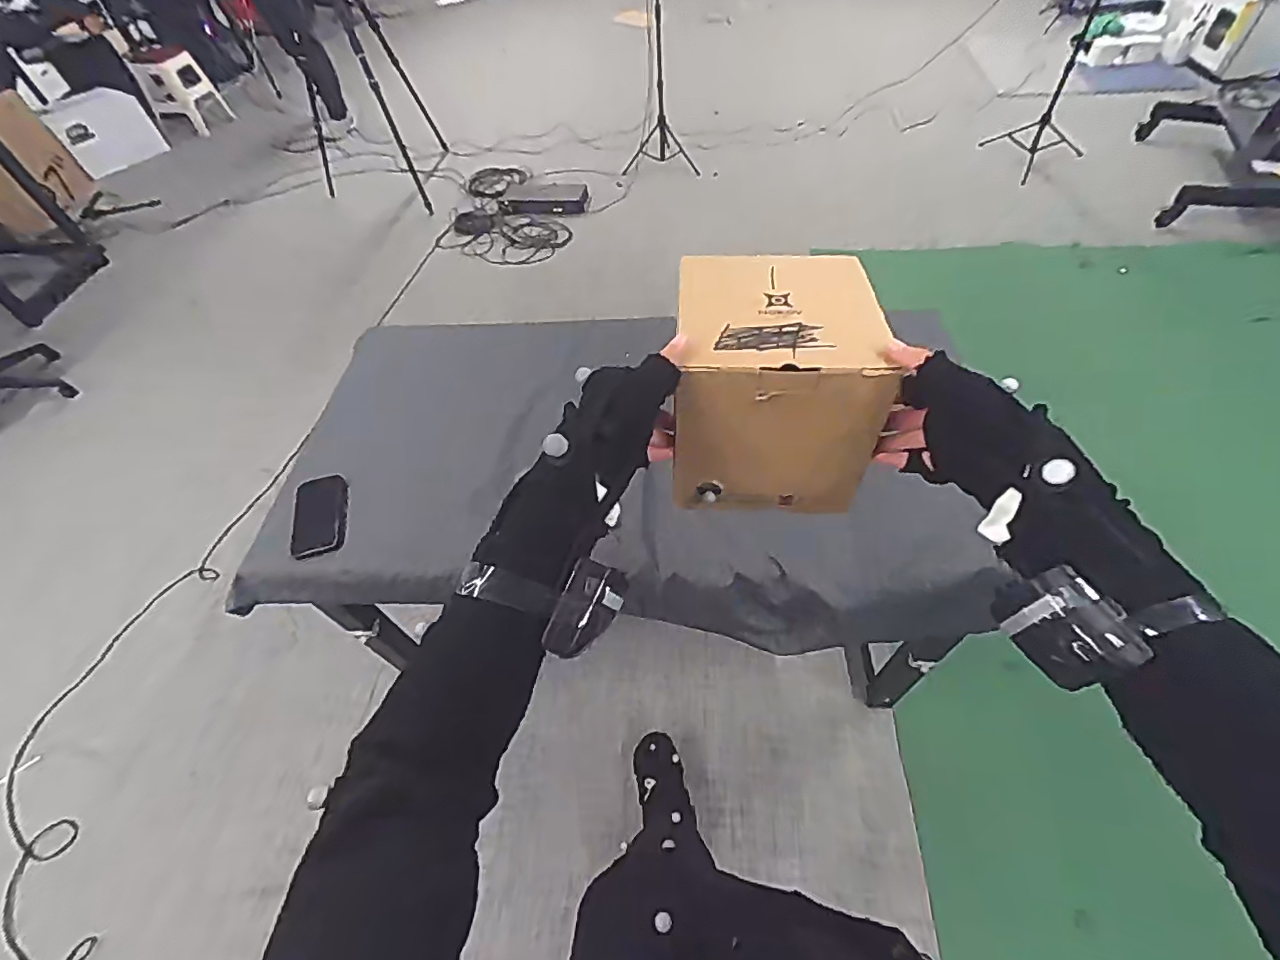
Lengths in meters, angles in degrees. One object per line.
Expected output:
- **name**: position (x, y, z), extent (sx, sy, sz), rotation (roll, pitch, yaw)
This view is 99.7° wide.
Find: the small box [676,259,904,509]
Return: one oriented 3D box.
- **small box**: position (0.120, -0.088, 0.509), extent (0.168, 0.176, 0.179), rotation (2, 47, 3)
